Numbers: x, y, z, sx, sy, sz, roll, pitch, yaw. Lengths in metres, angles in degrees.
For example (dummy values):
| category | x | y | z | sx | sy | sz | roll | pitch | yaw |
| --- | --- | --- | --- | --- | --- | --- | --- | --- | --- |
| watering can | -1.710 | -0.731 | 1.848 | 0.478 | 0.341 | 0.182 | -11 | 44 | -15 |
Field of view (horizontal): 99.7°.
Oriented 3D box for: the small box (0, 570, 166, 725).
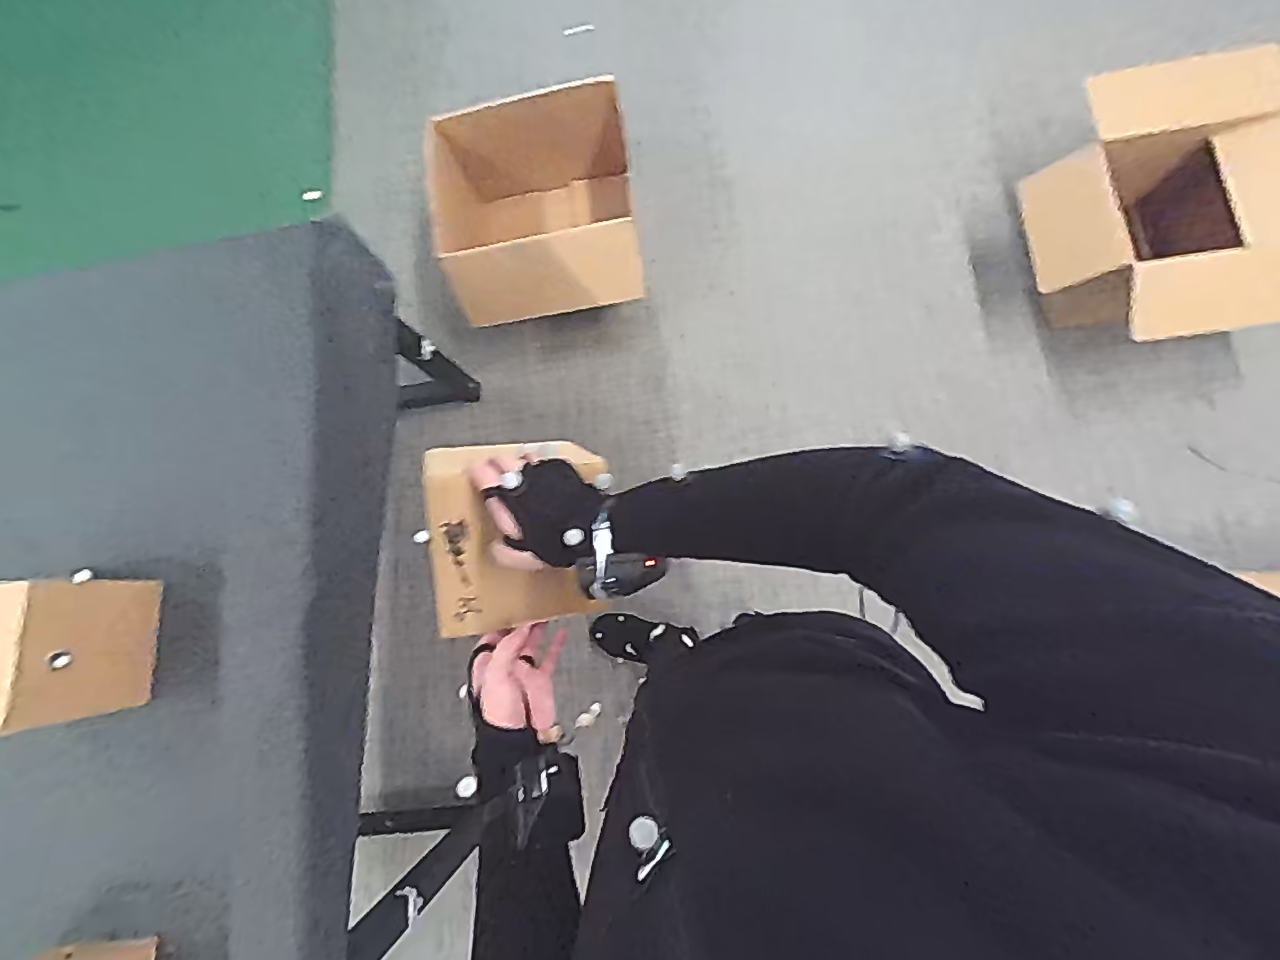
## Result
| category | x | y | z | sx | sy | sz | roll | pitch | yaw |
| --- | --- | --- | --- | --- | --- | --- | --- | --- | --- |
| small box | -0.796 | 0.213 | 0.727 | 0.168 | 0.176 | 0.179 | 0 | 79 | 6 |

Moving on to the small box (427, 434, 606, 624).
| category | x | y | z | sx | sy | sz | roll | pitch | yaw |
| --- | --- | --- | --- | --- | --- | --- | --- | --- | --- |
| small box | -0.149 | 0.042 | 0.632 | 0.179 | 0.176 | 0.168 | -6 | 105 | -19 |
